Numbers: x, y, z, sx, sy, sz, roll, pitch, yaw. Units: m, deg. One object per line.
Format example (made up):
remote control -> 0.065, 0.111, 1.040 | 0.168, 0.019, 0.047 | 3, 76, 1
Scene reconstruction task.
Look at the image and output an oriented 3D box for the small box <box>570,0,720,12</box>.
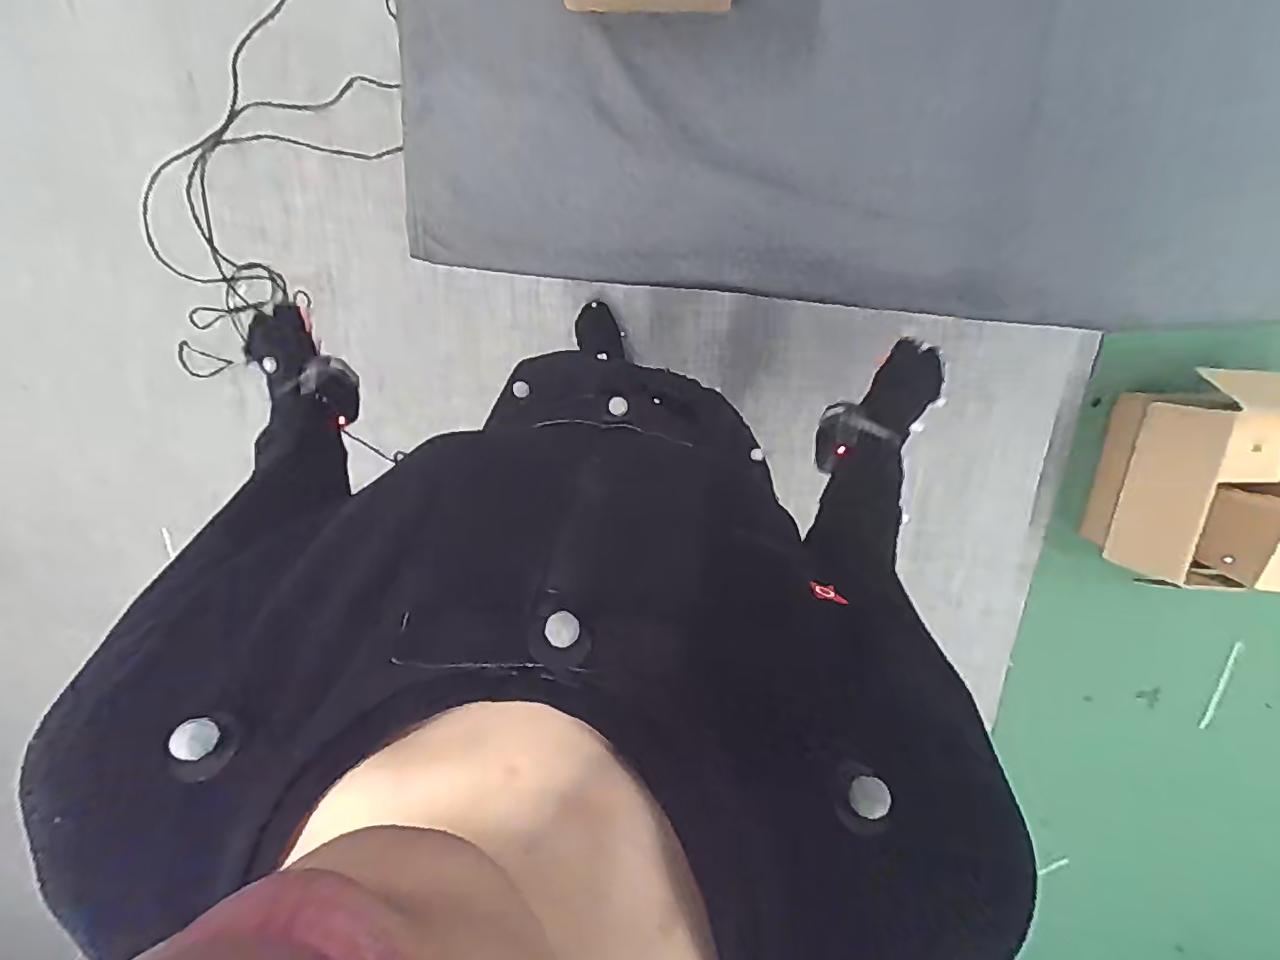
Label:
small box -> 0.006, -0.555, 0.478 | 0.179, 0.176, 0.168 | 1, 107, 0
